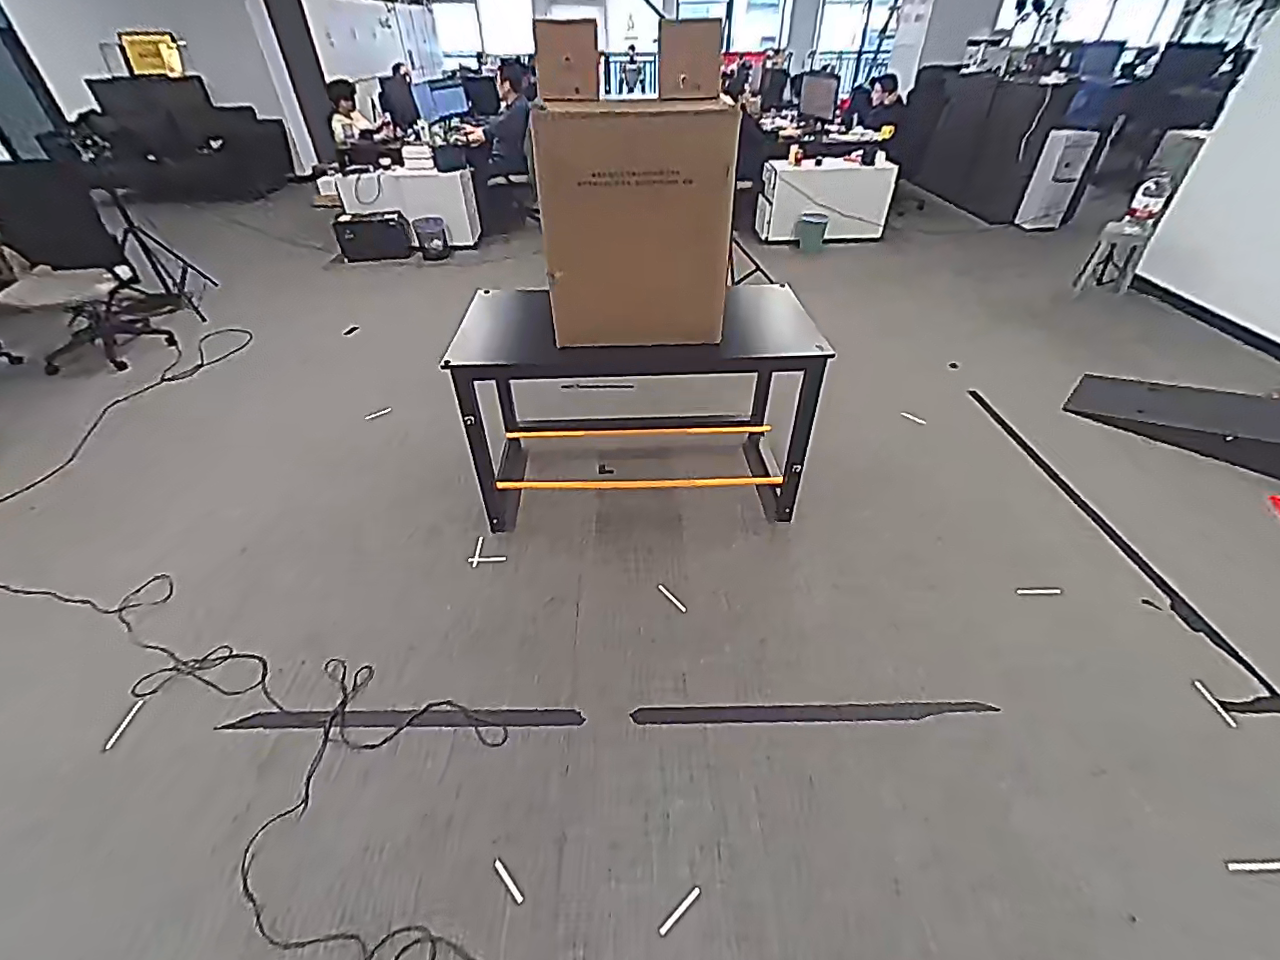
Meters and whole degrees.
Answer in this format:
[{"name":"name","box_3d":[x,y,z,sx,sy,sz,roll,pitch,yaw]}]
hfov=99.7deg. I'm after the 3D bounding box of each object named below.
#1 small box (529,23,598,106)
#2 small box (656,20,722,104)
[{"name":"small box","box_3d":[-0.201,-1.116,1.455,0.168,0.176,0.179,-4,39,-5]},{"name":"small box","box_3d":[0.127,-1.121,1.455,0.168,0.176,0.179,-3,39,2]}]
